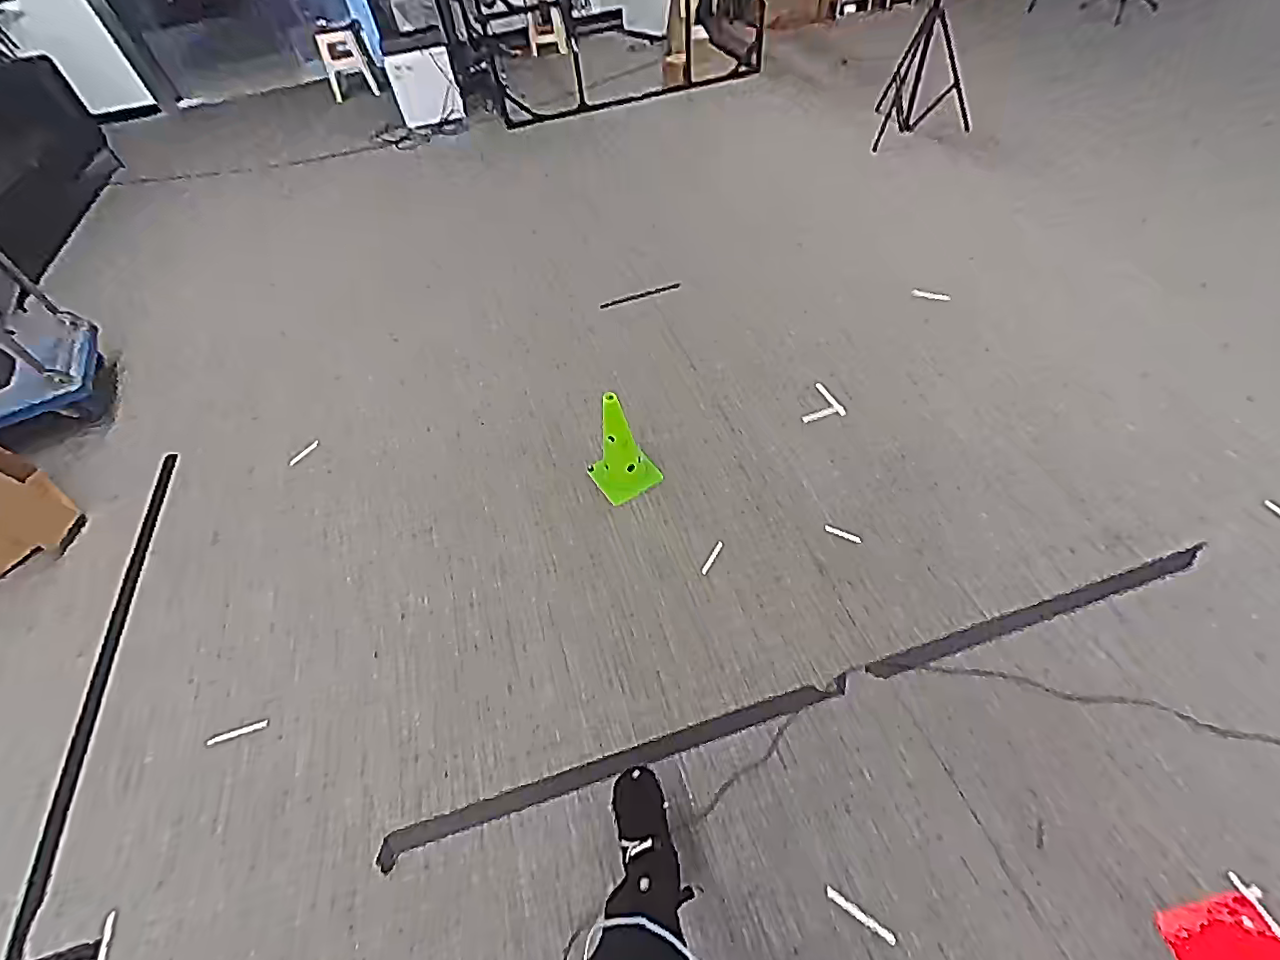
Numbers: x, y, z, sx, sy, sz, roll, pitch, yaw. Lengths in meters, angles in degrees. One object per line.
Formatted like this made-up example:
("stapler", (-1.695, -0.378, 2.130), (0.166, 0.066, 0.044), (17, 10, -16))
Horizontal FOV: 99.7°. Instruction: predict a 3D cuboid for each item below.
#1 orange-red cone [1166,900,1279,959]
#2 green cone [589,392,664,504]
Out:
("orange-red cone", (1.073, 0.779, 0.832), (0.199, 0.360, 0.198), (-12, 51, -1))
("green cone", (-0.060, -0.126, 1.698), (0.202, 0.368, 0.200), (-29, 54, -17))
